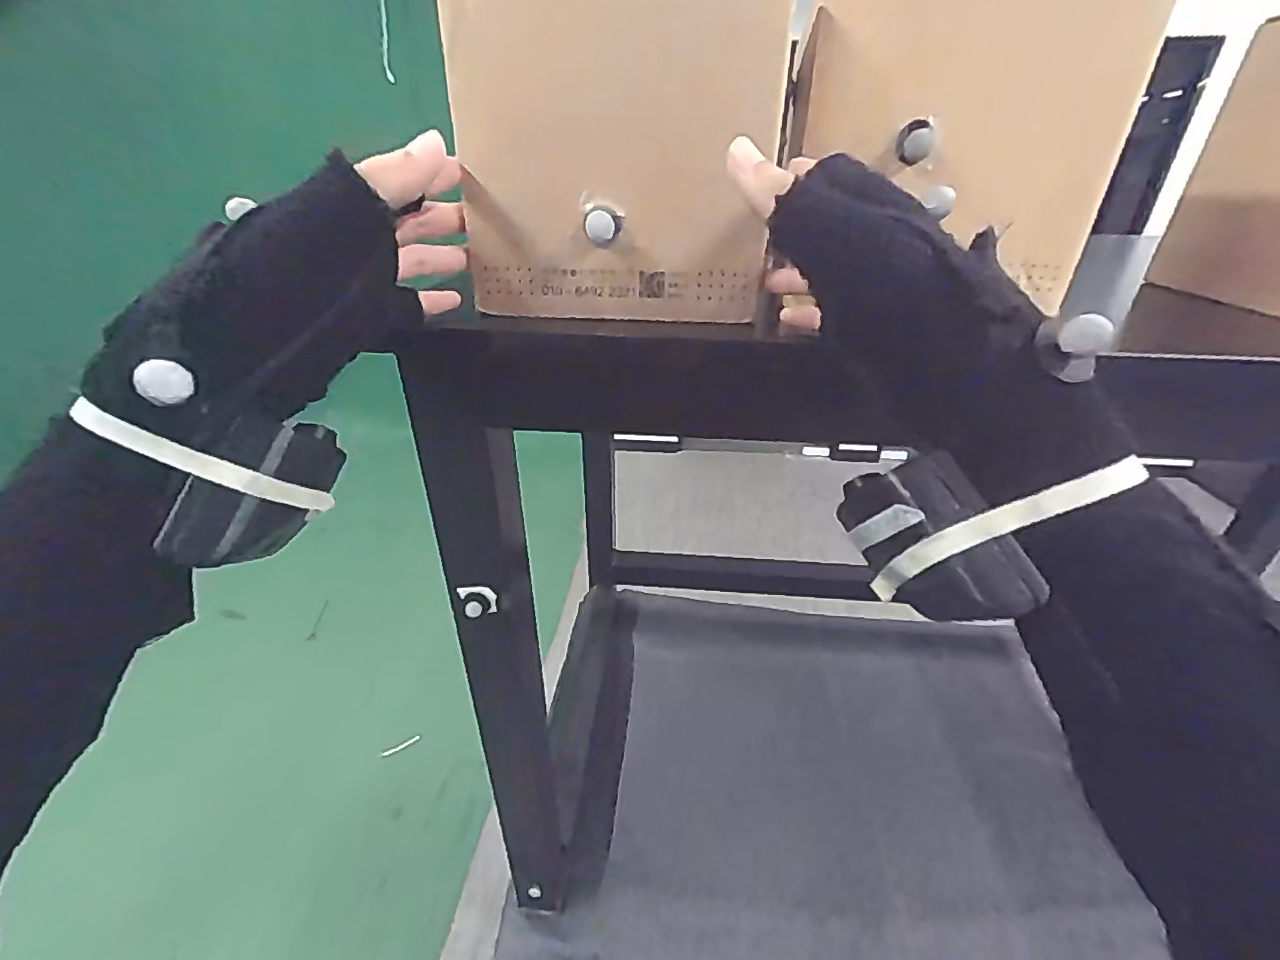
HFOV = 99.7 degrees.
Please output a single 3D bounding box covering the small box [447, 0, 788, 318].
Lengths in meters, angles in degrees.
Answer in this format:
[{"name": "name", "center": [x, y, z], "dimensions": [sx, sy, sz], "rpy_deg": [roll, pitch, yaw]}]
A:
[{"name": "small box", "center": [-0.010, -0.212, 0.349], "dimensions": [0.168, 0.176, 0.179], "rpy_deg": [3, 30, 4]}]
